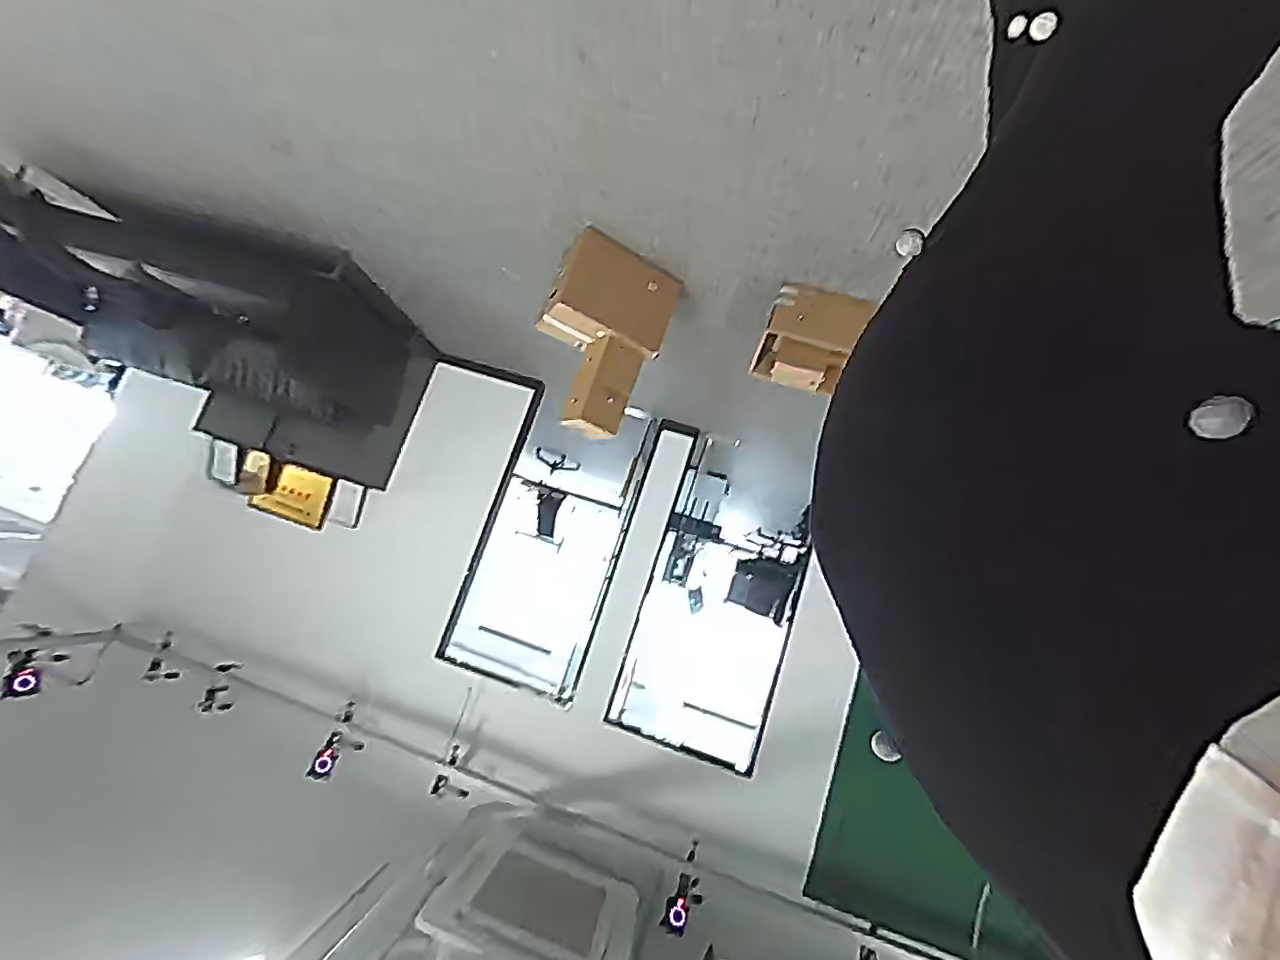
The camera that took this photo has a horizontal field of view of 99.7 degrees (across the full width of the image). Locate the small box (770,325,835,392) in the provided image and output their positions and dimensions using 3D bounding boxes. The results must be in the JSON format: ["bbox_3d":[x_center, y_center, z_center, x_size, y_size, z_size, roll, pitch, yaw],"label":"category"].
[{"bbox_3d":[0.596,-0.450,1.991,0.179,0.176,0.168,17,170,11],"label":"small box"}]

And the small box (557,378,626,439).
[{"bbox_3d":[-0.174,-0.261,1.991,0.168,0.176,0.179,25,167,-33],"label":"small box"}]
